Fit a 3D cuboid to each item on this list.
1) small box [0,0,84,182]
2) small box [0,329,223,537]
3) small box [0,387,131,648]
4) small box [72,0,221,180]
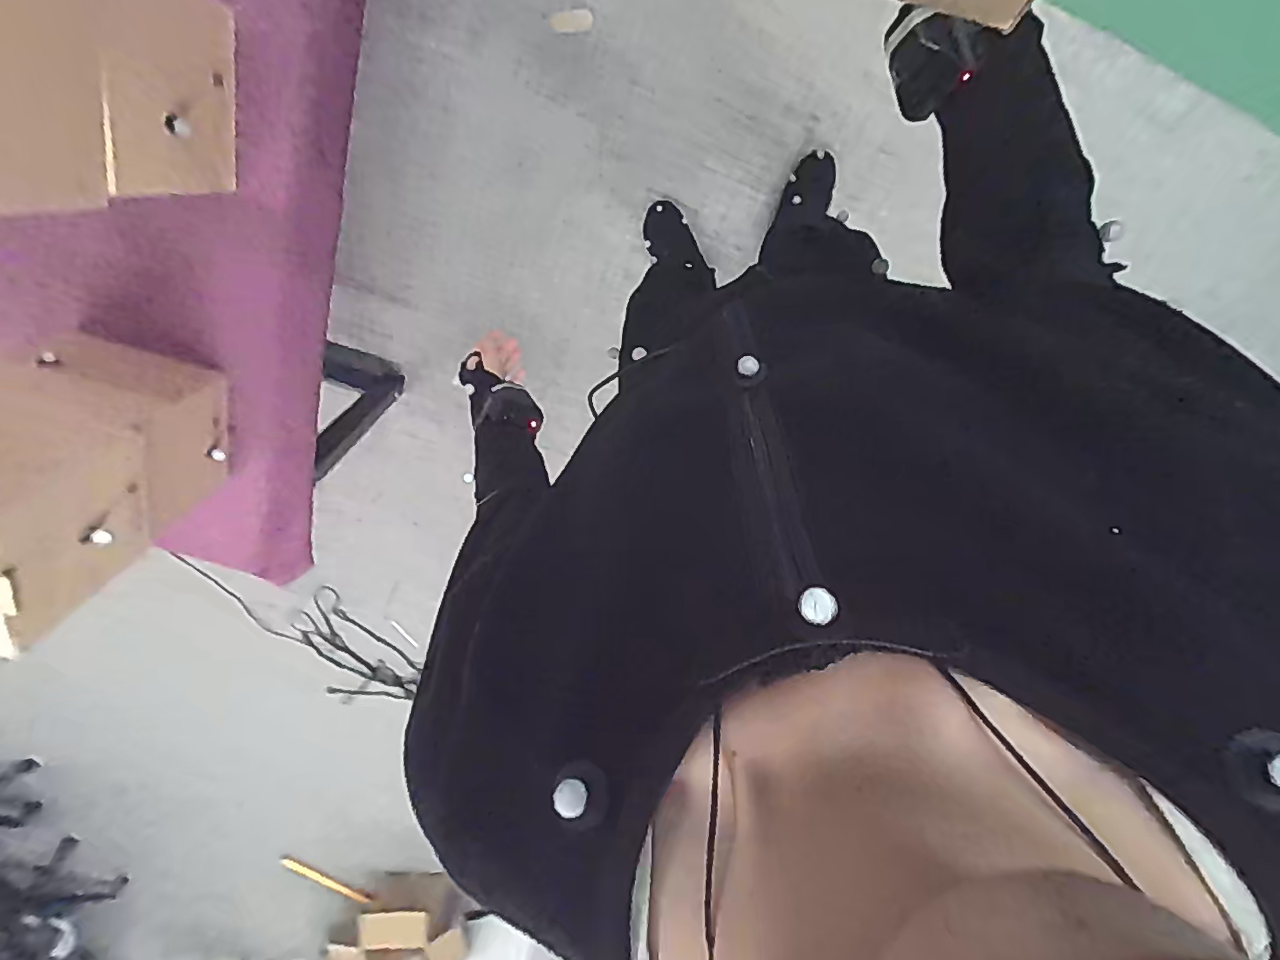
[{"bbox_3d":[-0.491,-0.296,0.320,0.168,0.176,0.179,19,118,-12],"label":"small box"},{"bbox_3d":[-0.640,-0.064,0.638,0.179,0.176,0.168,16,119,-12],"label":"small box"},{"bbox_3d":[-0.622,0.022,0.499,0.179,0.176,0.168,17,118,-13],"label":"small box"},{"bbox_3d":[-0.497,-0.380,0.462,0.179,0.176,0.168,17,118,-10],"label":"small box"}]
